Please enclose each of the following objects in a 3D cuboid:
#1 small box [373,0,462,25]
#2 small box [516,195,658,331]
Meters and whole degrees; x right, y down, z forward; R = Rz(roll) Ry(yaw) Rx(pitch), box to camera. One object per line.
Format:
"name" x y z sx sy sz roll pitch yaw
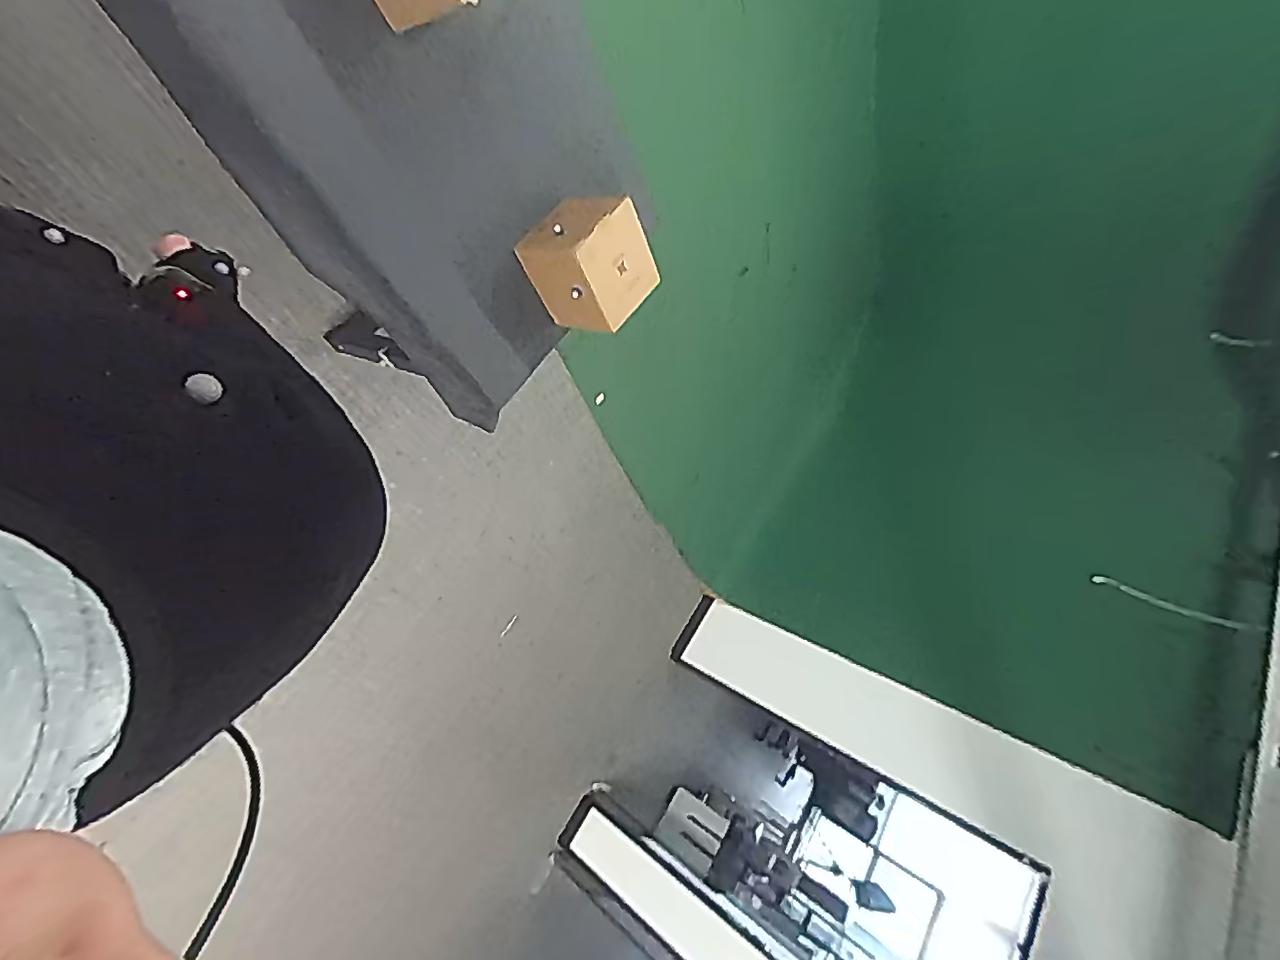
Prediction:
"small box" -0.262 -0.707 0.662 0.179 0.176 0.168 -55 142 -18
"small box" -0.099 -0.407 1.018 0.168 0.176 0.179 -53 142 -20
